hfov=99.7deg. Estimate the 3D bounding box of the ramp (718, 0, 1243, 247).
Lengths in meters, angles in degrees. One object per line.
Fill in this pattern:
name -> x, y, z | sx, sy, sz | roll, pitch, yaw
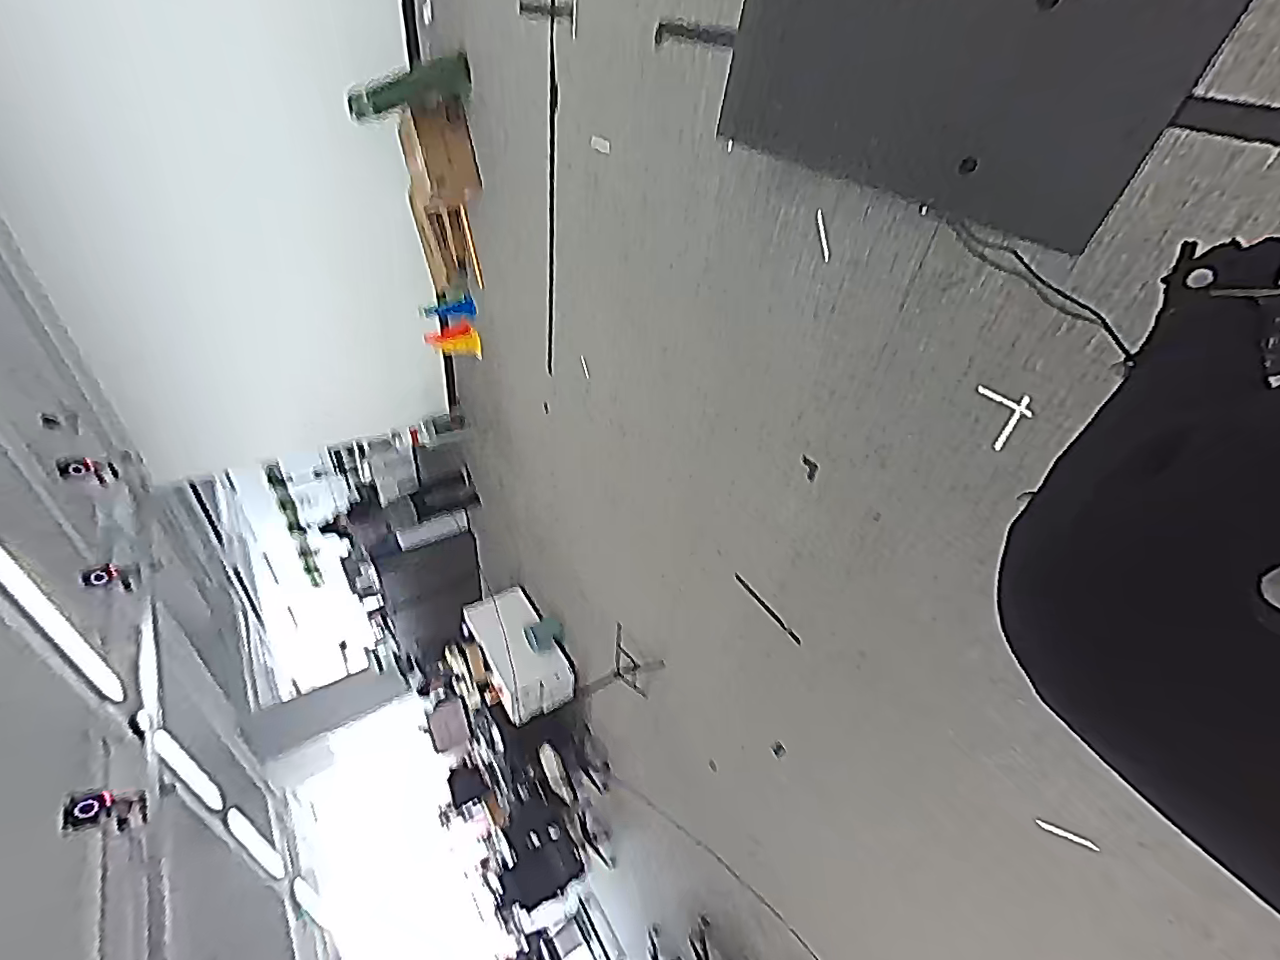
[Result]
ramp -> 0.616, -0.939, 1.215 | 0.991, 0.206, 0.509 | 45, 140, 35
